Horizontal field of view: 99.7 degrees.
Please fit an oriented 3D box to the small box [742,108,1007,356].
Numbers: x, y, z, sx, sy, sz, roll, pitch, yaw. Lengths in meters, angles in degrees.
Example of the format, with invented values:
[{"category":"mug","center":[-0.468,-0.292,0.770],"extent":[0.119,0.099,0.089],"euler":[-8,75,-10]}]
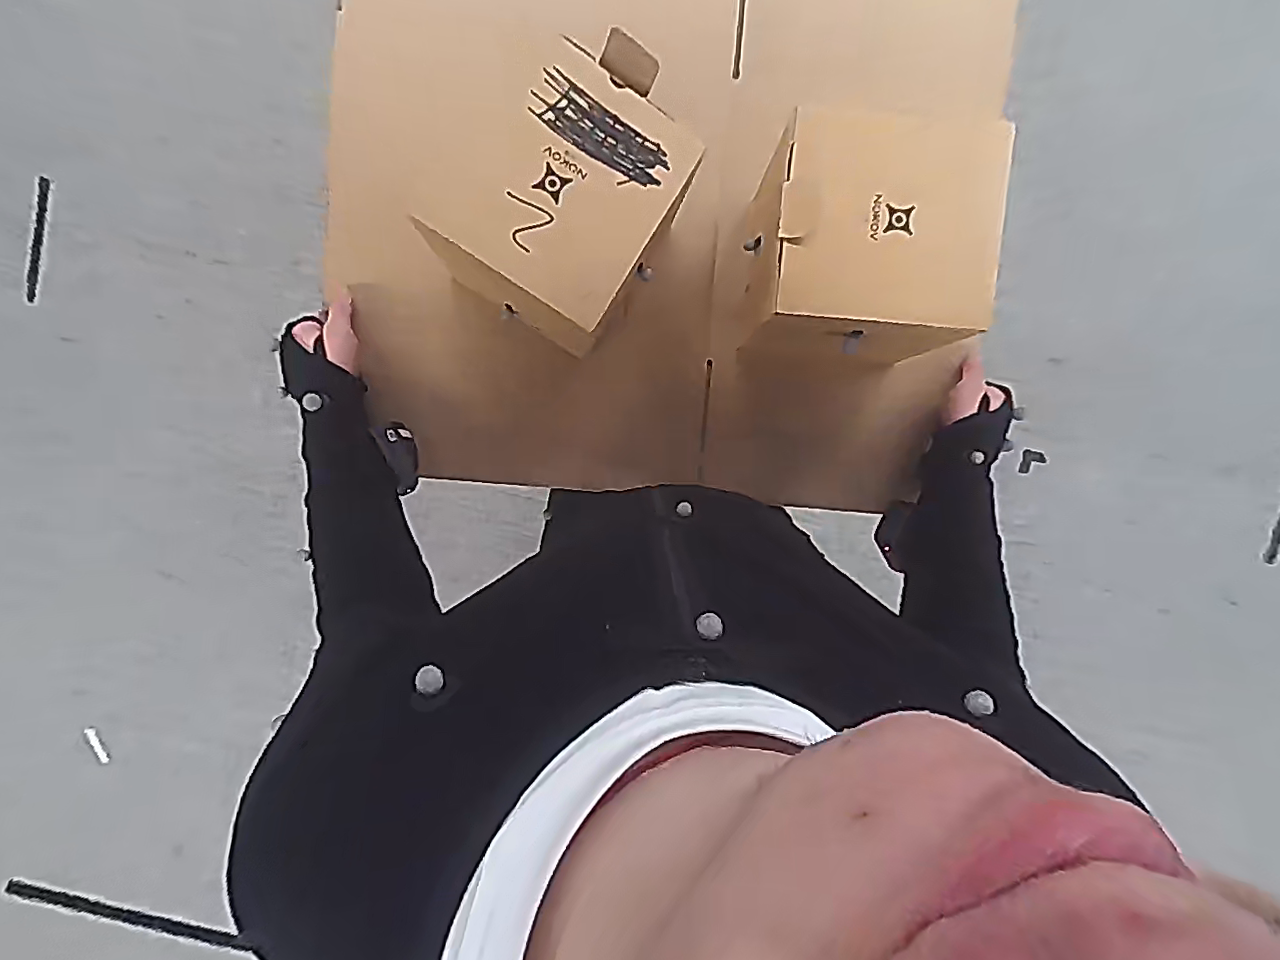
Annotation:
[{"category":"small box","center":[0.206,-0.219,0.524],"extent":[0.179,0.176,0.168],"euler":[5,93,1]}]
